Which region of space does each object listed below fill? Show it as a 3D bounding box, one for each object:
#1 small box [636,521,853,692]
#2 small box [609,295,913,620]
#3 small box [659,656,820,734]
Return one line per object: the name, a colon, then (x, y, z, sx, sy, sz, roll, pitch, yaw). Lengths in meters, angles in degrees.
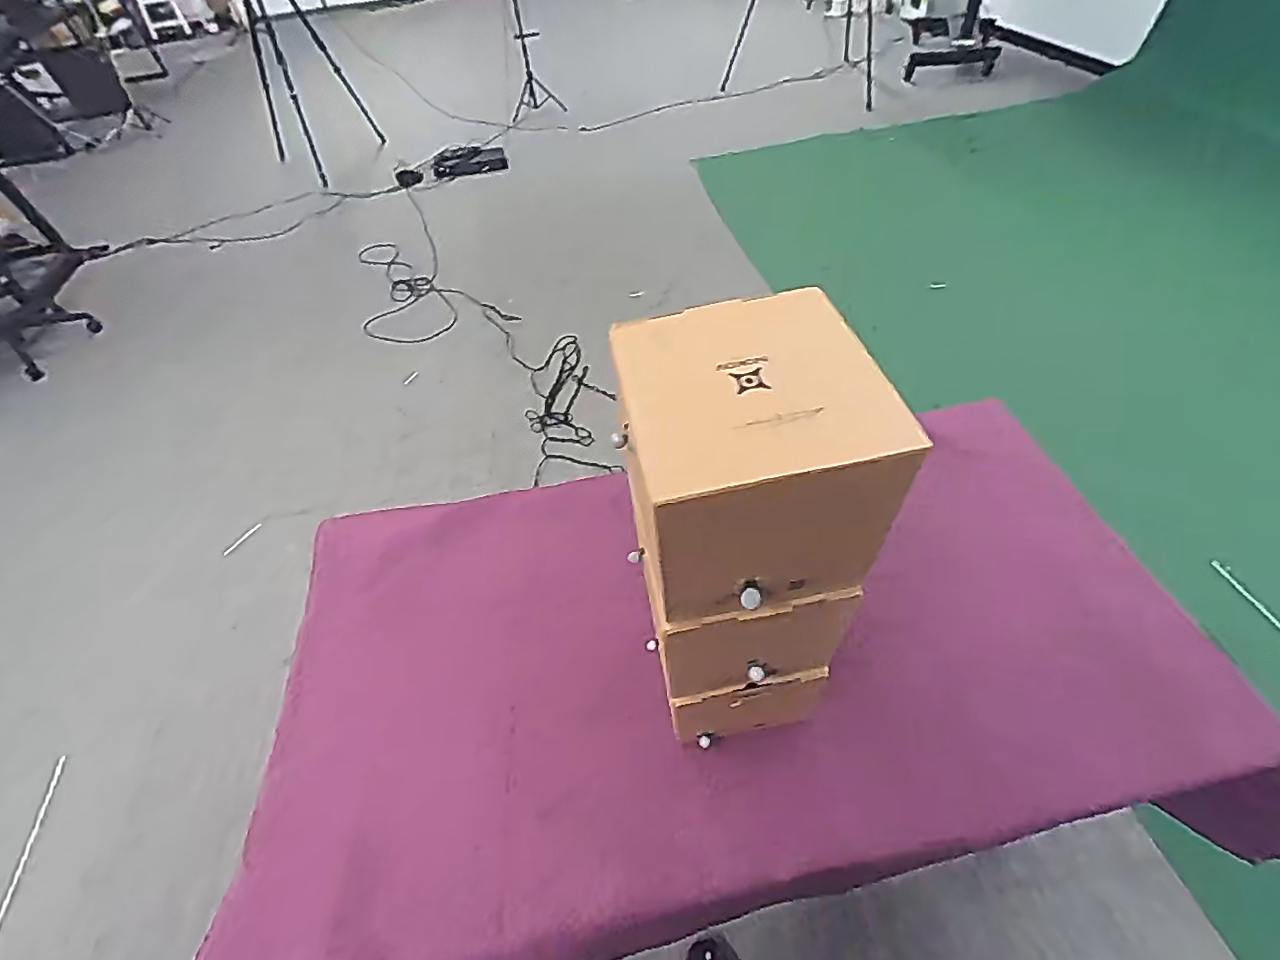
small box: (0.088, 0.091, 0.551, 0.168, 0.176, 0.179, -11, 51, -2)
small box: (0.074, -0.015, 0.428, 0.168, 0.176, 0.179, -11, 51, -2)
small box: (0.104, 0.200, 0.673, 0.168, 0.176, 0.179, -10, 50, -2)
